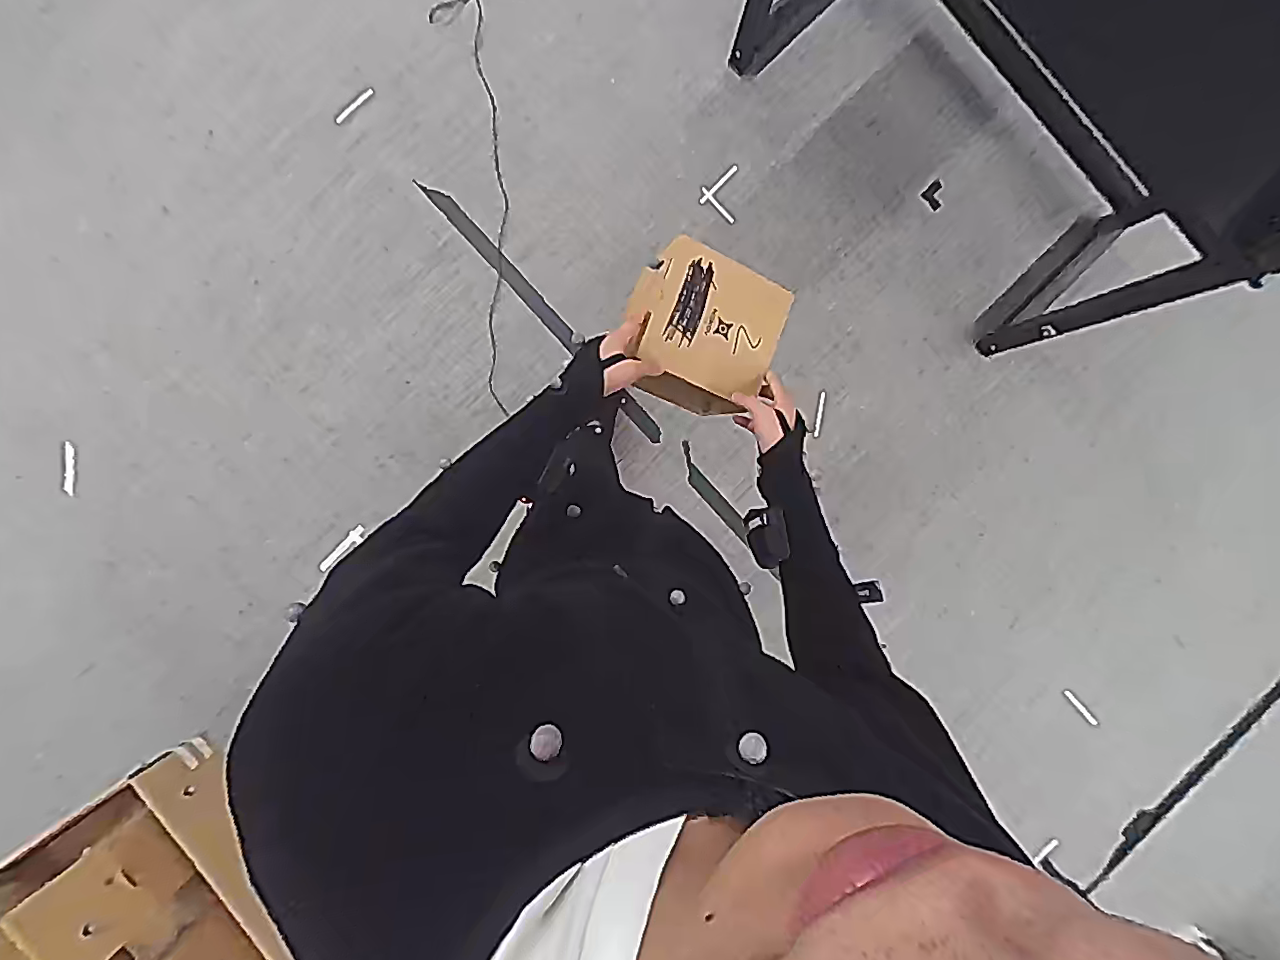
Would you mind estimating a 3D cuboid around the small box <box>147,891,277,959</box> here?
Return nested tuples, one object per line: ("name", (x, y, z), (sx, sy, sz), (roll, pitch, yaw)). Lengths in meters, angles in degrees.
("small box", (-0.915, 1.023, 1.125), (0.168, 0.176, 0.179), (-37, 93, -1))

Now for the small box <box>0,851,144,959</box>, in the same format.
("small box", (-1.036, 0.809, 0.947), (0.179, 0.176, 0.168), (-36, 94, 0))
